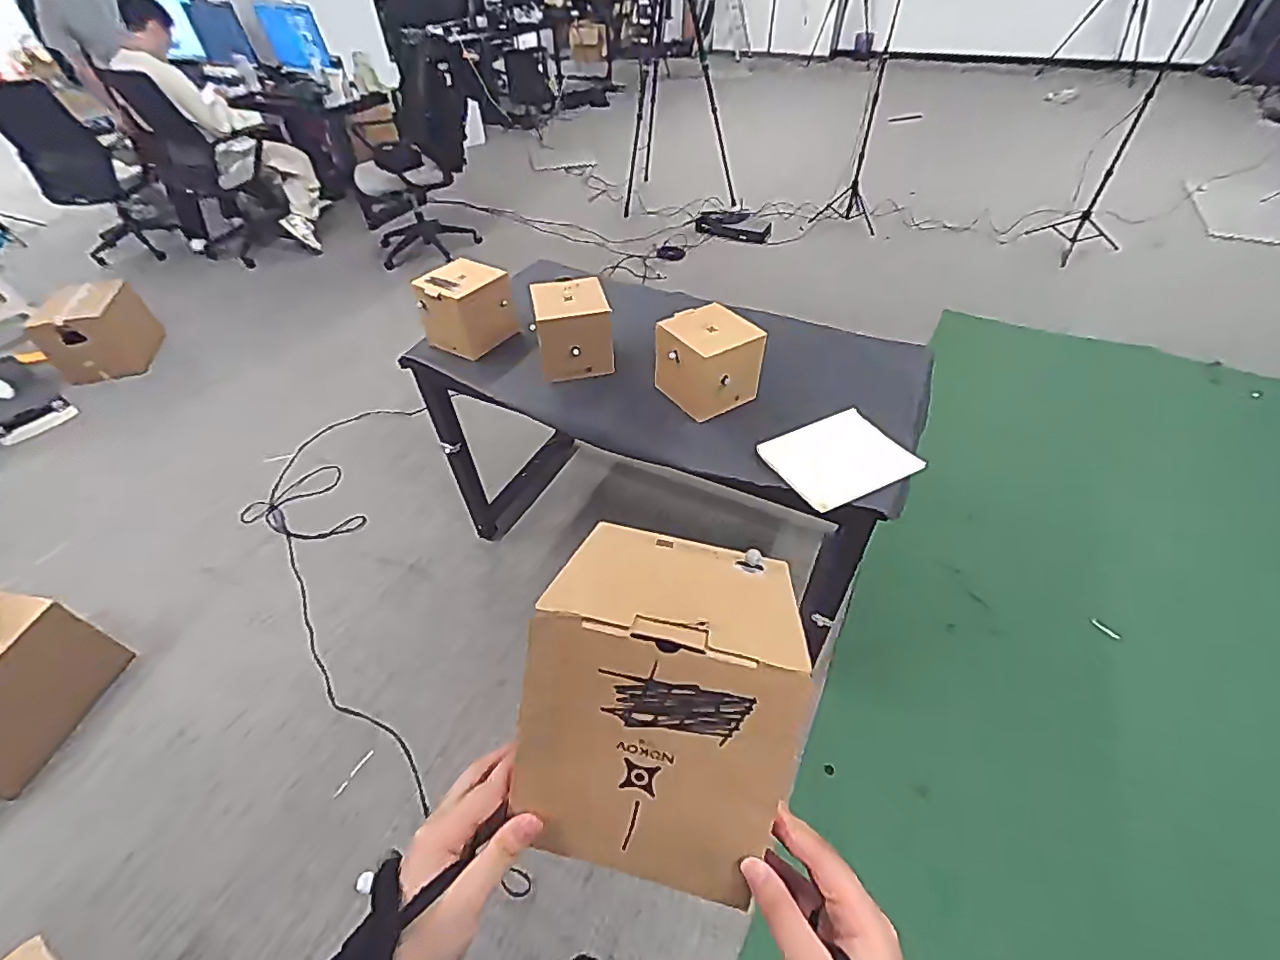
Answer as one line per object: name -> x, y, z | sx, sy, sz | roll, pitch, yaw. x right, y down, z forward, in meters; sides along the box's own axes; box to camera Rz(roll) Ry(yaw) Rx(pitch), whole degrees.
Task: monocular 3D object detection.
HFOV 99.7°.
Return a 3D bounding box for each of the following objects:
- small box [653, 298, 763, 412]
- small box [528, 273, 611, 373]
small box -> 0.144, -0.269, 1.189 | 0.168, 0.176, 0.179 | -26, 49, -22
small box -> -0.167, -0.370, 1.297 | 0.168, 0.176, 0.179 | -10, 46, -9
